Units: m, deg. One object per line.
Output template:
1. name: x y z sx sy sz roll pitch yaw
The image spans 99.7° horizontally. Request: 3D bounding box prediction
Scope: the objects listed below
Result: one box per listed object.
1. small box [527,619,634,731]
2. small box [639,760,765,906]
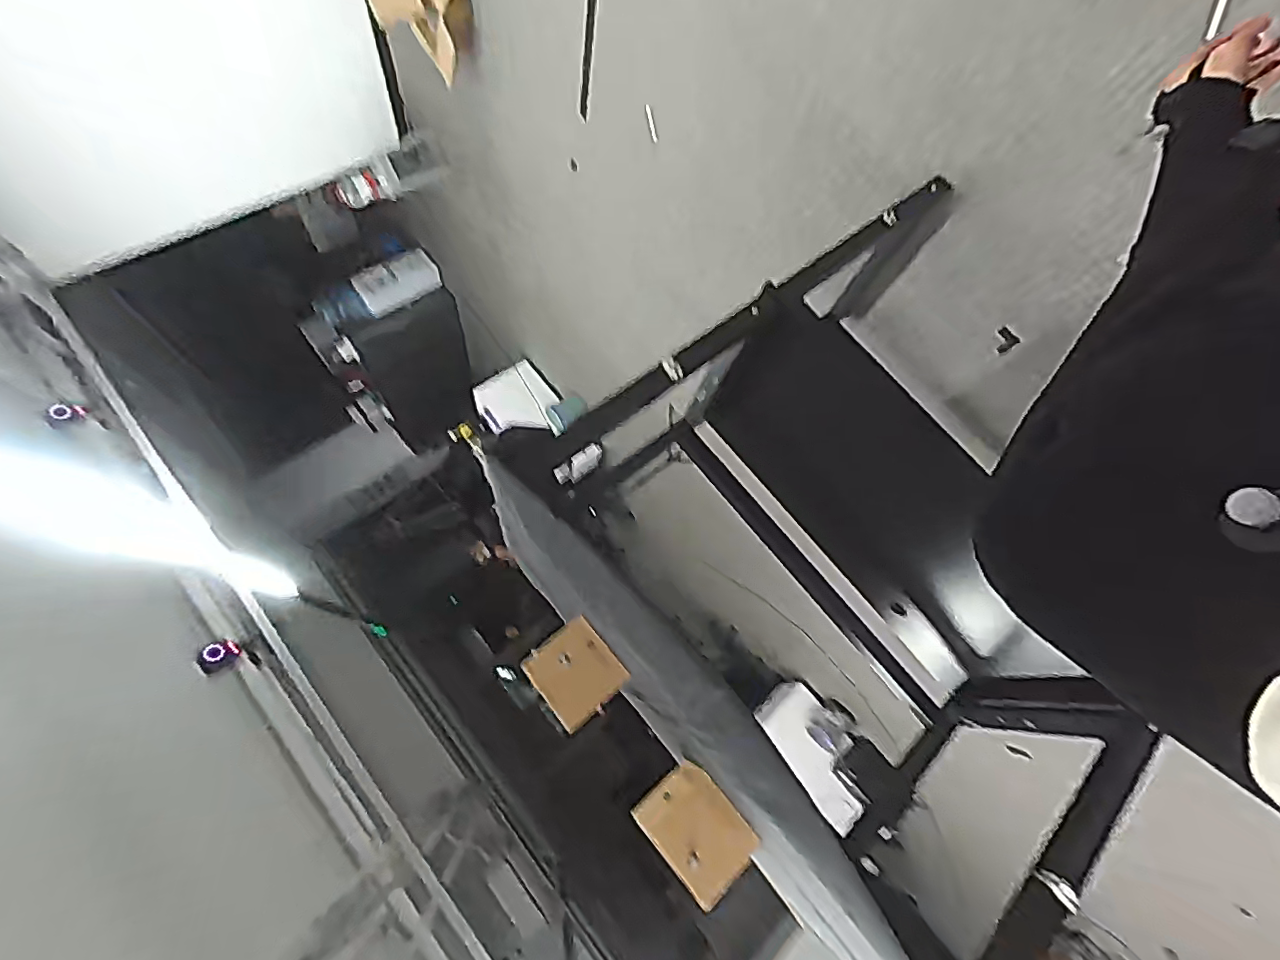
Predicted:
1. small box: -0.132 0.430 1.206 0.168 0.176 0.179 49 159 11
2. small box: 0.128 0.729 1.143 0.179 0.176 0.168 49 159 8
